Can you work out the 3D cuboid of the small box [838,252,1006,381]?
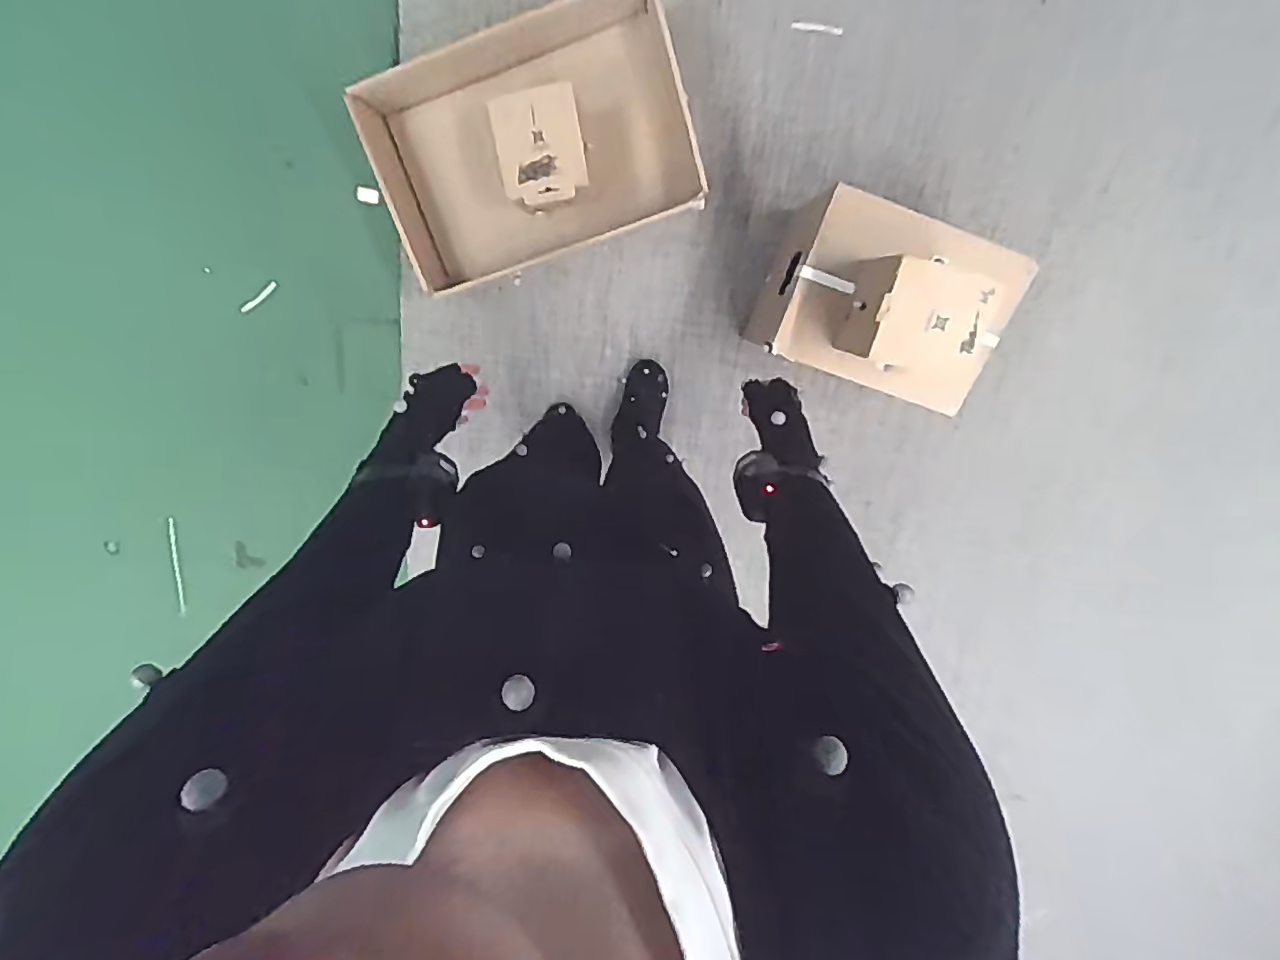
[{"bbox_3d":[0.469,-0.281,0.935,0.179,0.176,0.168,13,109,-3],"label":"small box"}]

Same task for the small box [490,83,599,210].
[{"bbox_3d":[-0.183,-0.662,1.099,0.168,0.176,0.179,-9,106,5],"label":"small box"}]
